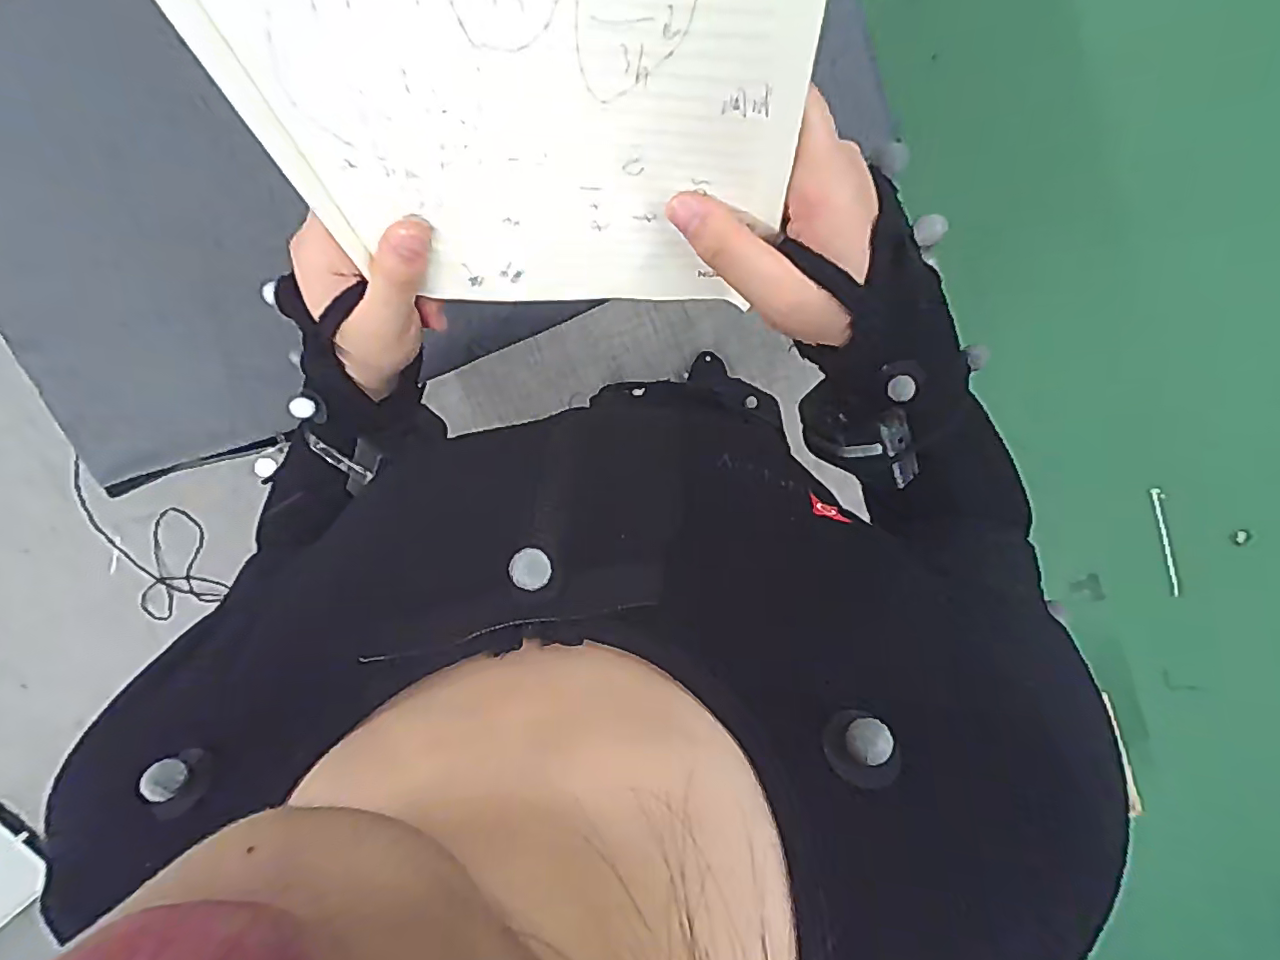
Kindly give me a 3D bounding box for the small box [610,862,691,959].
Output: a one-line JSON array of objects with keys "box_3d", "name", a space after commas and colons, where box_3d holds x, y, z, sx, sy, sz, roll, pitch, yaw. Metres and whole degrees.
[{"box_3d": [0.032, 1.195, 1.484, 0.179, 0.176, 0.168, -19, 98, 9], "name": "small box"}]
